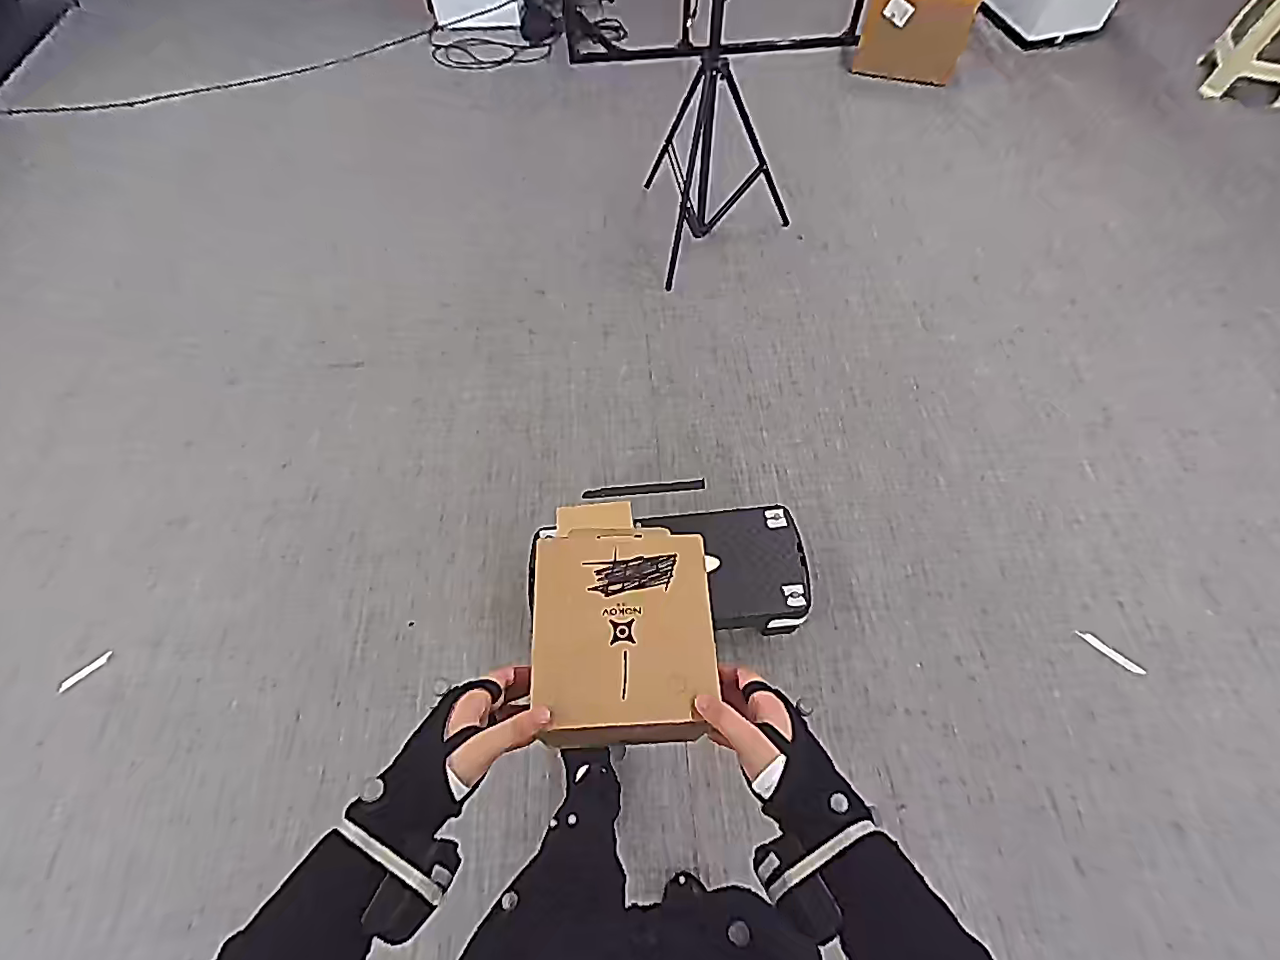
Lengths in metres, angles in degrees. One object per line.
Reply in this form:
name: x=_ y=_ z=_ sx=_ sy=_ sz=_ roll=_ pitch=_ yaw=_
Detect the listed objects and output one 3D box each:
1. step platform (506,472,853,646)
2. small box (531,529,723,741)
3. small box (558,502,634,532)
step platform: x=0.075 y=0.179 z=1.165 sx=0.684 sy=0.204 sz=0.286 roll=-5 pitch=61 yaw=-2
small box: x=-0.018 y=0.166 z=0.565 sx=0.168 sy=0.176 sz=0.179 roll=-1 pitch=60 yaw=-4
small box: x=-0.092 y=0.169 z=1.215 sx=0.168 sy=0.176 sz=0.179 roll=-6 pitch=62 yaw=-1
